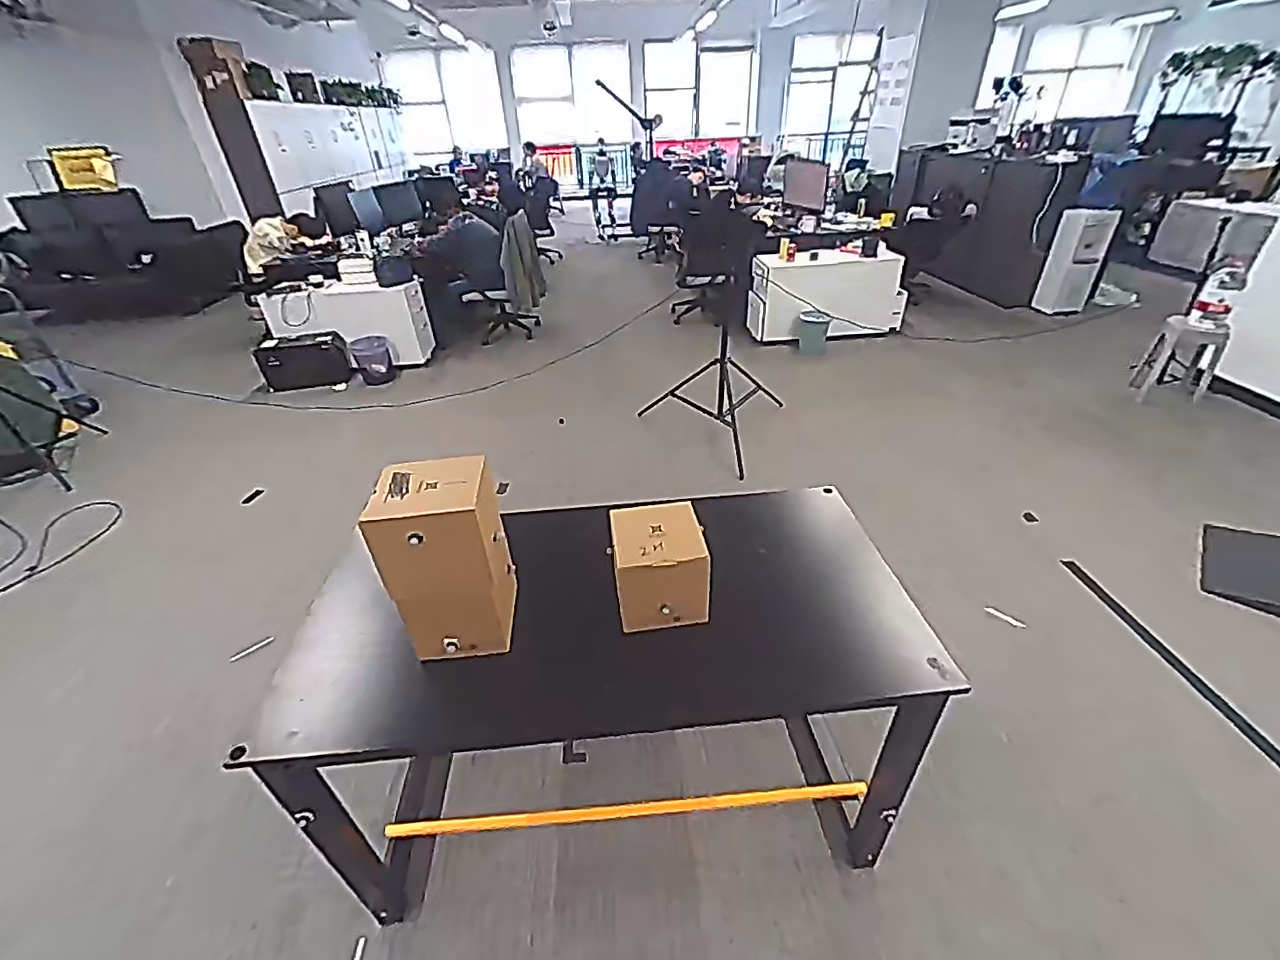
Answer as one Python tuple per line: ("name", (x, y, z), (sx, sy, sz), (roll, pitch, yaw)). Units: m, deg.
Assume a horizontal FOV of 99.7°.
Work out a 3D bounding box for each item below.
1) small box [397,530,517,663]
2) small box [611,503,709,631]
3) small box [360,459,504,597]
("small box", (-0.333, 0.217, 1.026), (0.168, 0.176, 0.179), (-7, 34, -3))
("small box", (0.035, 0.168, 1.063), (0.168, 0.176, 0.179), (-7, 34, -4))
("small box", (-0.344, 0.084, 0.930), (0.179, 0.176, 0.168), (-7, 33, -5))
